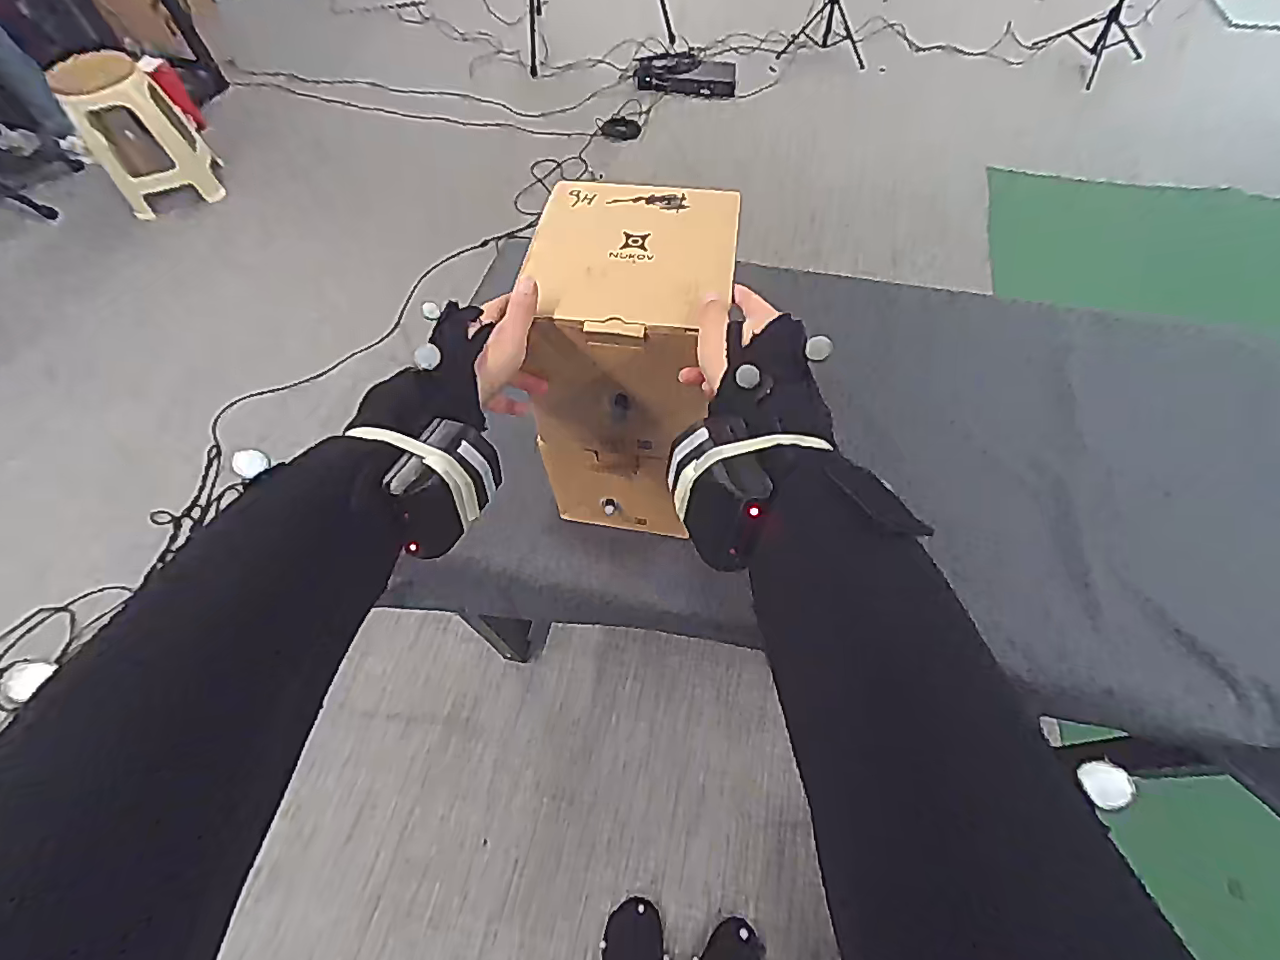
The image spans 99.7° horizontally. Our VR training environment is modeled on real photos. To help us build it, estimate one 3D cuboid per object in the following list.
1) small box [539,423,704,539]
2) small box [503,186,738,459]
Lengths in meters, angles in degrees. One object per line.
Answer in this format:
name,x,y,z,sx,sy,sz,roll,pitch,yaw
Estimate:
small box,-0.006,-0.053,0.637,0.168,0.176,0.179,8,59,6
small box,-0.006,-0.137,0.496,0.168,0.176,0.179,6,60,5
